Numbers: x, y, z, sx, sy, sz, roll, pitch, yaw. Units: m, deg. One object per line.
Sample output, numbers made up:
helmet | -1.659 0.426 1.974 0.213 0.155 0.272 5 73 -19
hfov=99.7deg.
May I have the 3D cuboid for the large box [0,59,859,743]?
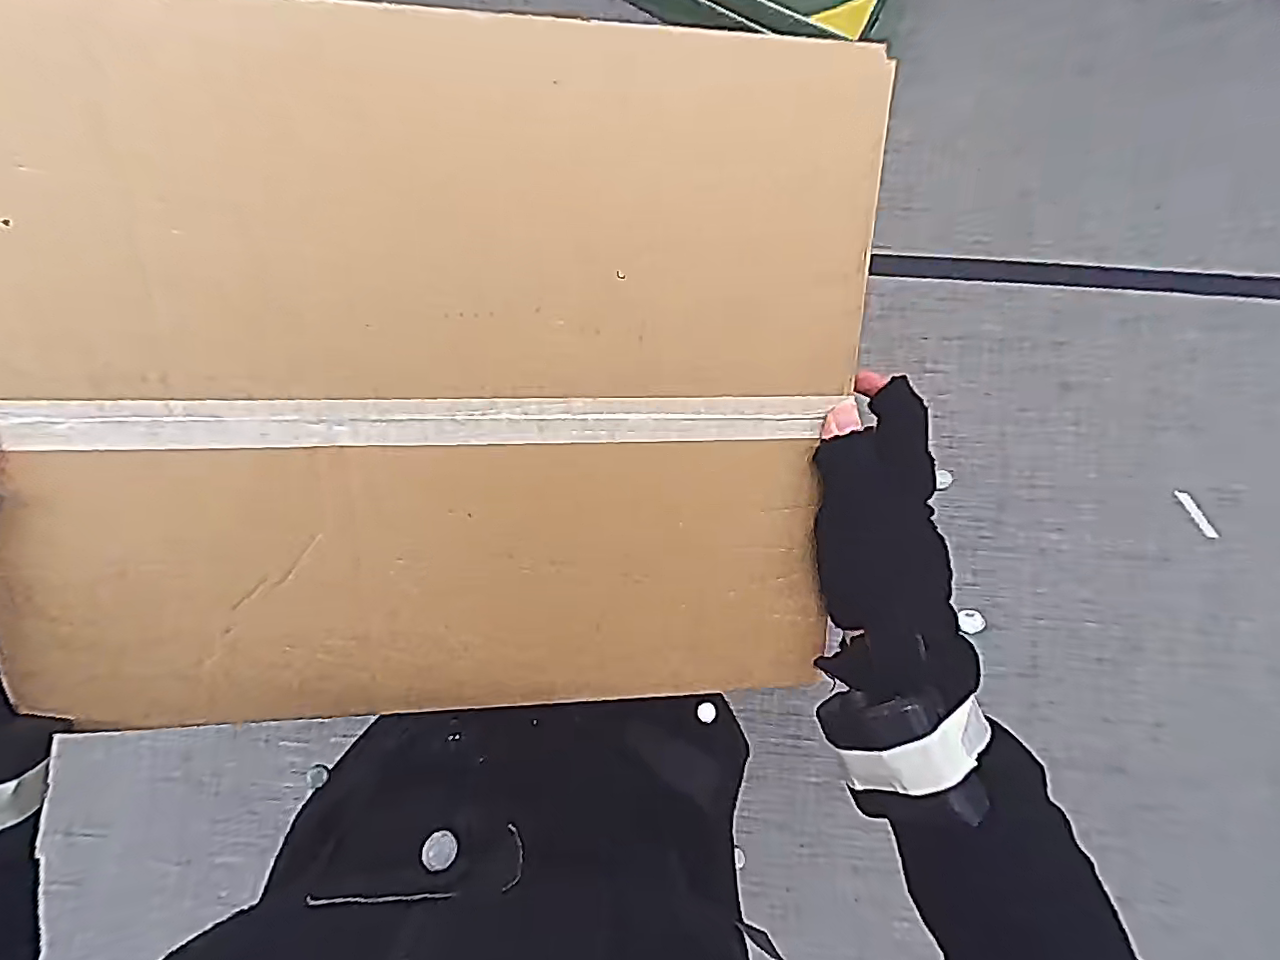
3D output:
large box | -0.114 -0.058 0.401 0.408 0.320 0.320 -1 106 -7
